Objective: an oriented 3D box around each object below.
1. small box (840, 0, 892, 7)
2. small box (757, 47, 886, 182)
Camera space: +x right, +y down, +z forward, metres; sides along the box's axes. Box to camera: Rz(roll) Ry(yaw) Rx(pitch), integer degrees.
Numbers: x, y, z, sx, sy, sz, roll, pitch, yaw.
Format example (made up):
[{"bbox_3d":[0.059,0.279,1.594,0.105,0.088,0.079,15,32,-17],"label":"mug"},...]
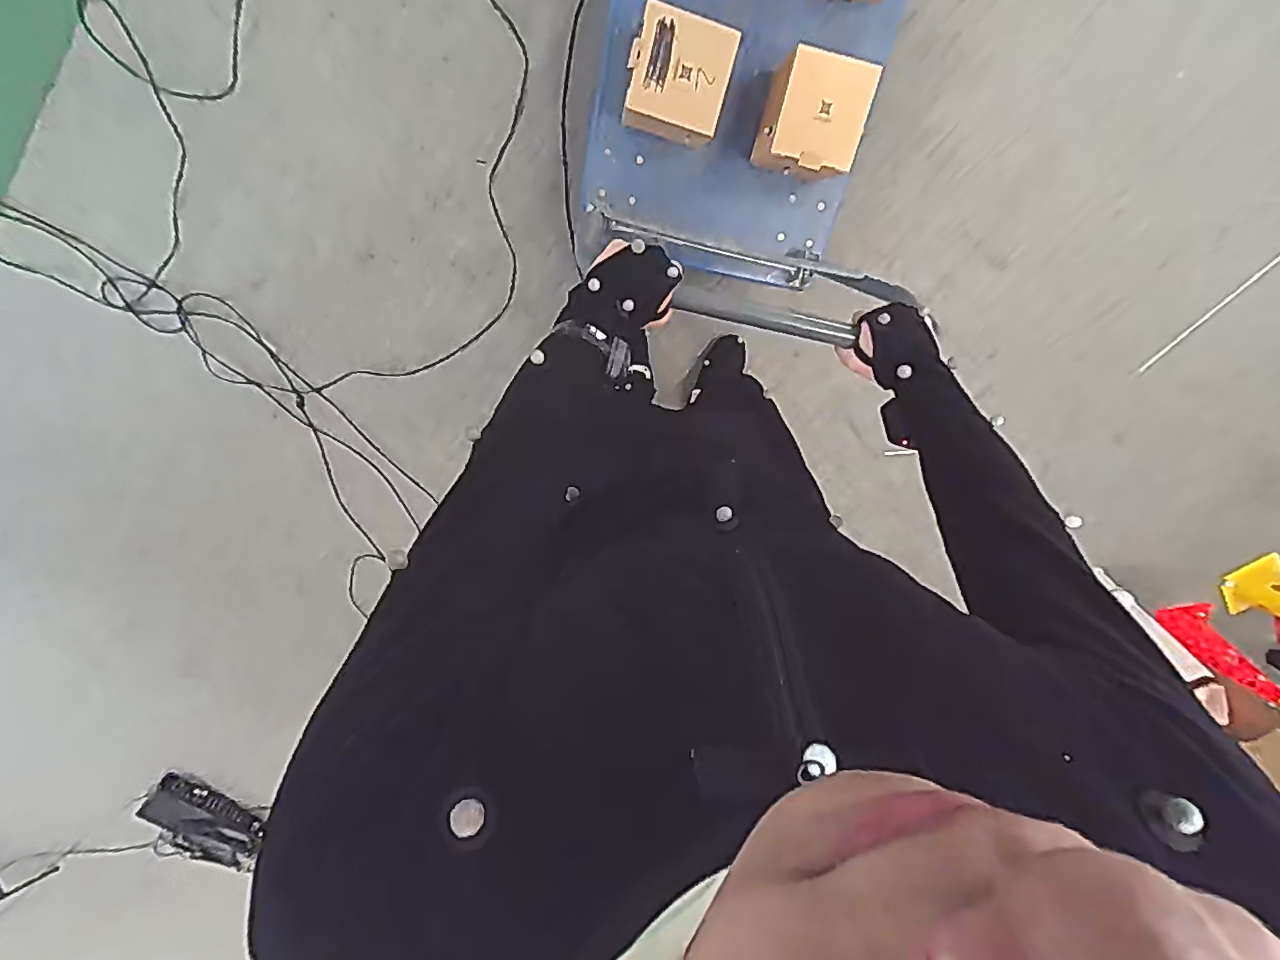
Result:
[{"bbox_3d":[0.420,-0.987,0.955,0.168,0.176,0.179,5,115,-4],"label":"small box"},{"bbox_3d":[0.348,-0.714,1.078,0.168,0.176,0.179,10,114,-7],"label":"small box"}]
